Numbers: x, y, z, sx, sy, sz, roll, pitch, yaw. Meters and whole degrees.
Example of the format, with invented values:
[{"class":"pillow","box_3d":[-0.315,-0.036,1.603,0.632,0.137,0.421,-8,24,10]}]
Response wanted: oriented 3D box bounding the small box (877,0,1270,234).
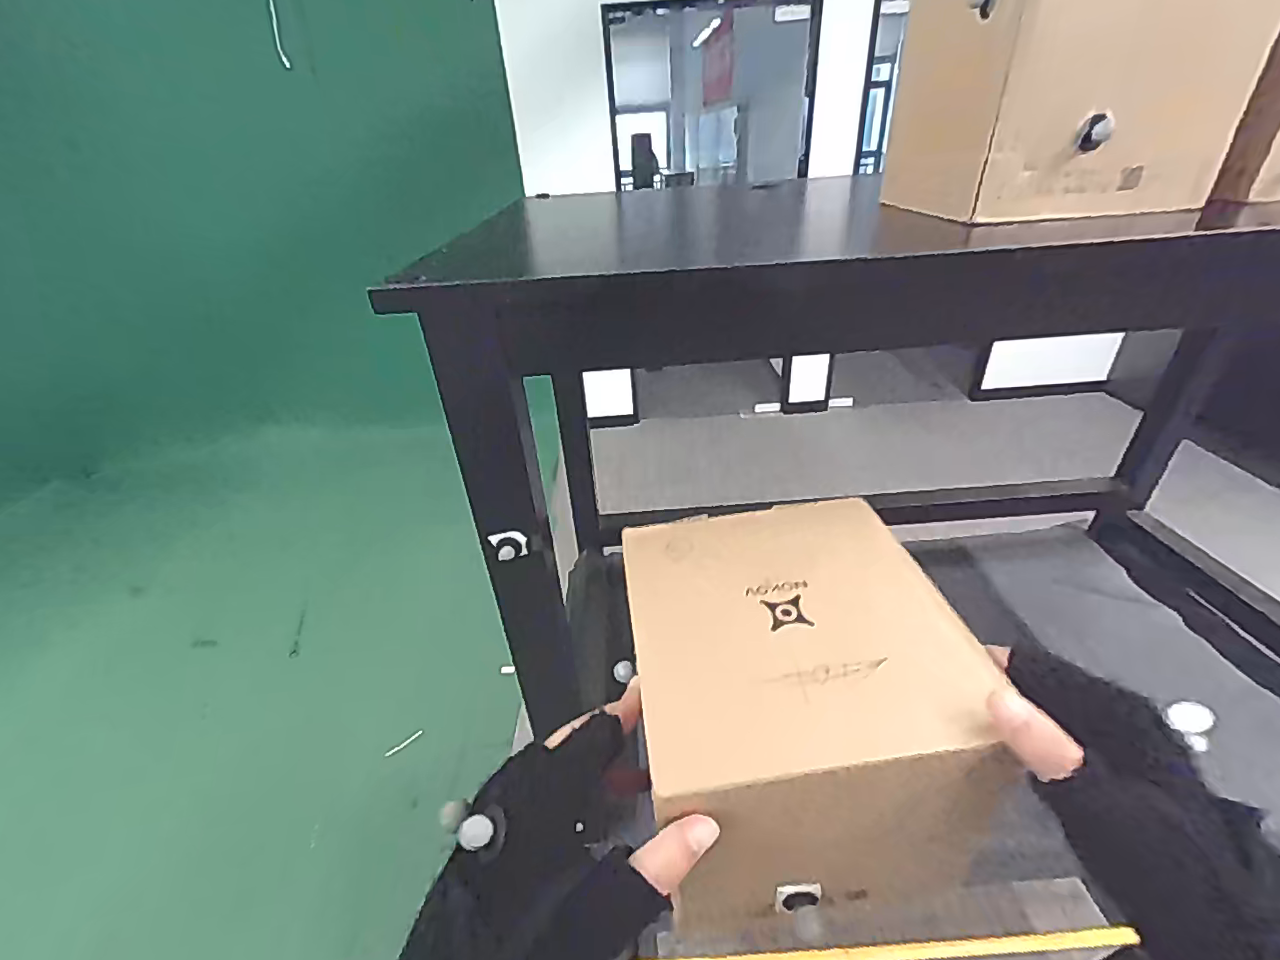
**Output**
[{"class":"small box","box_3d":[0.311,-0.298,0.433,0.168,0.176,0.179,-3,32,1]}]
